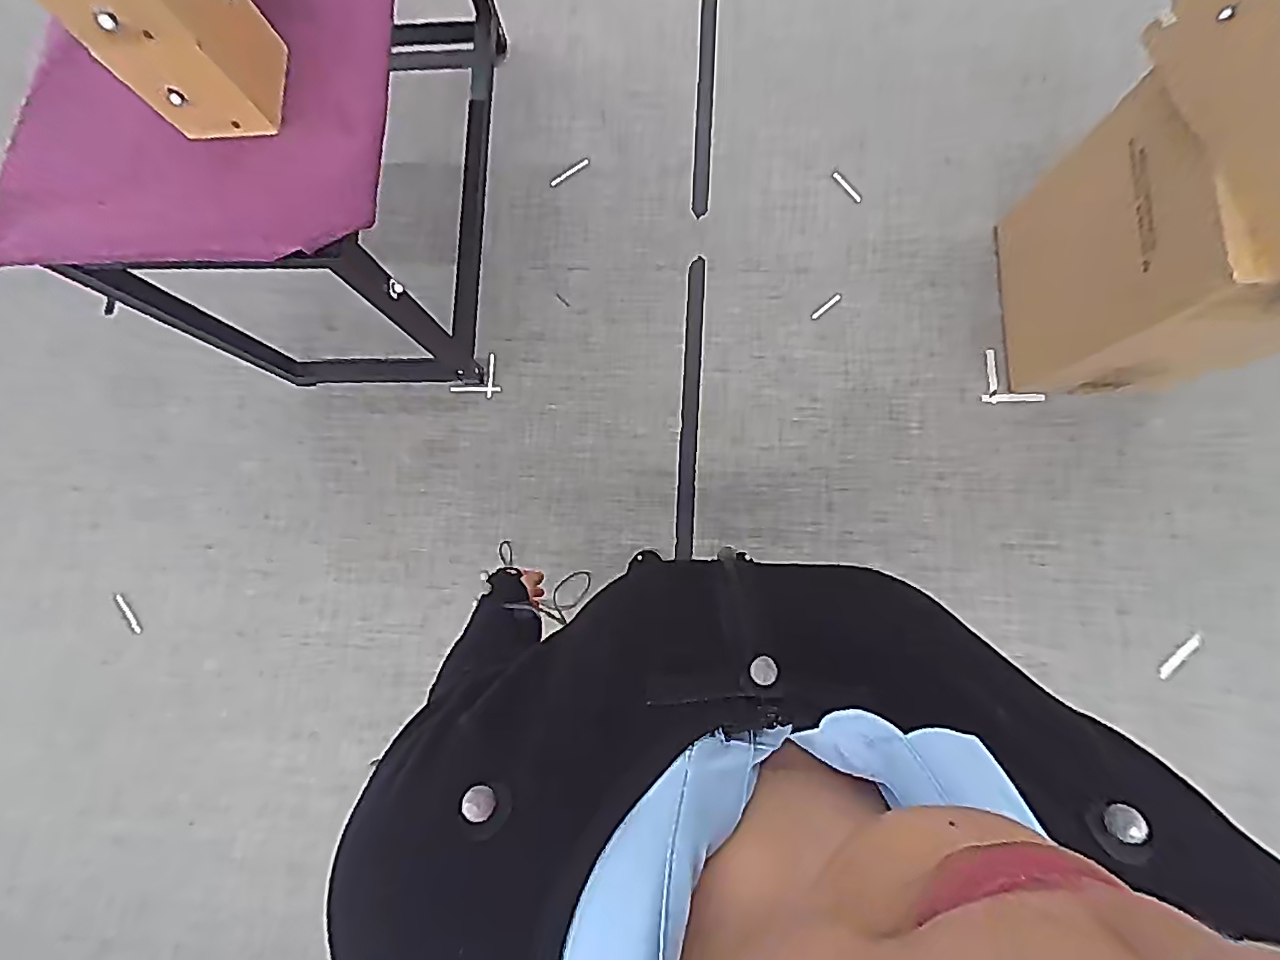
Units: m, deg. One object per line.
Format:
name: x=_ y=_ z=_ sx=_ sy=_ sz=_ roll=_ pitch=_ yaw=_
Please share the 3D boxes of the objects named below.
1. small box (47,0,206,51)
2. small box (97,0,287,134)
small box: x=-0.712 y=-0.717 z=0.712 sx=0.168 sy=0.176 sz=0.179 roll=-2 pitch=82 yaw=3
small box: x=-0.707 y=-0.691 z=0.874 sx=0.168 sy=0.176 sz=0.179 roll=-2 pitch=81 yaw=3
